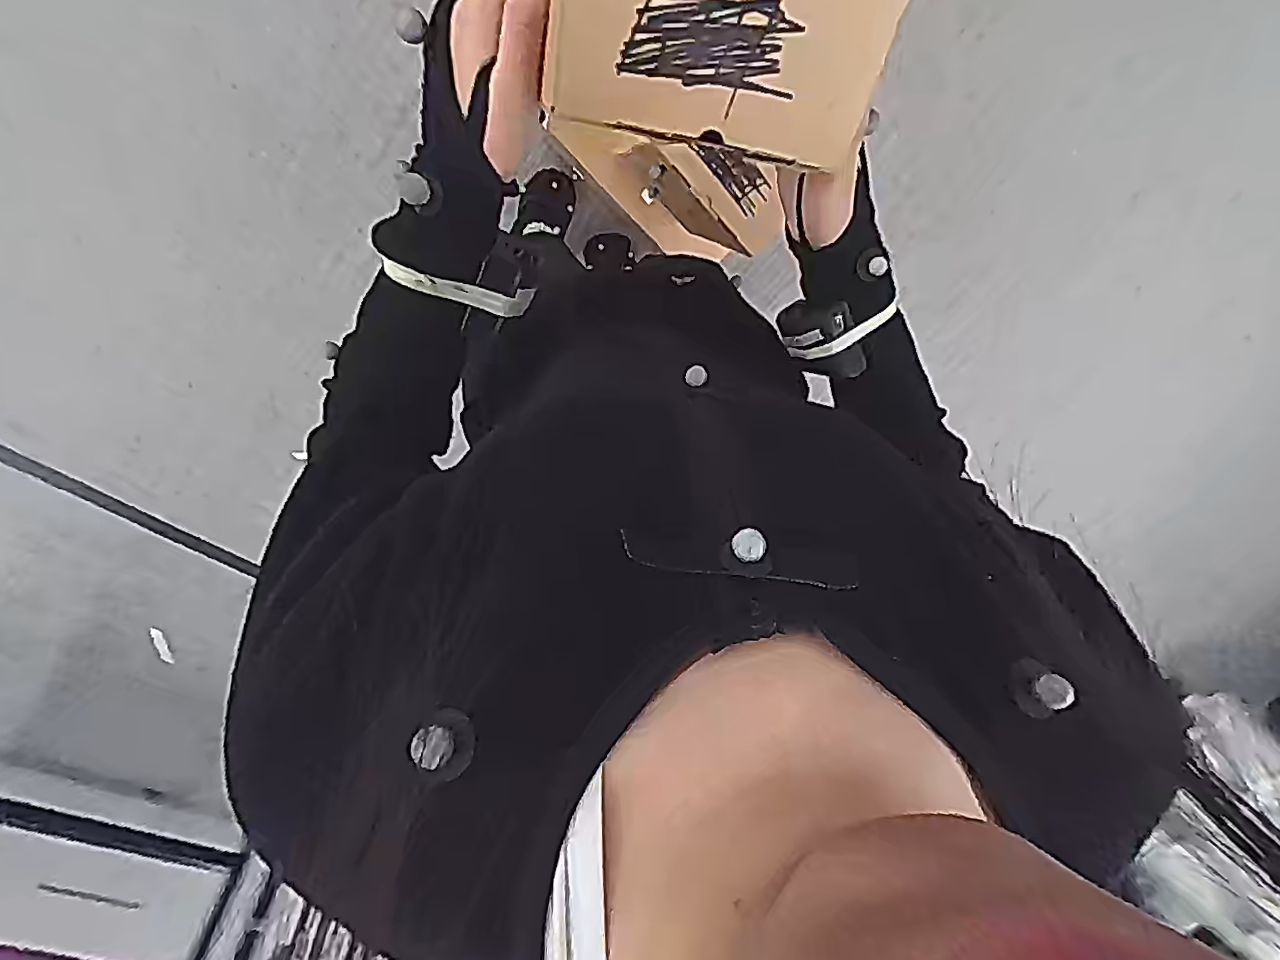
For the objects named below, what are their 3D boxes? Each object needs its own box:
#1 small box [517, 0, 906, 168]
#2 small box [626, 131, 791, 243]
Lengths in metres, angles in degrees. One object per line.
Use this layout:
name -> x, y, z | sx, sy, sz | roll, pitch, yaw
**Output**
small box -> 0.031, -0.291, 0.280 | 0.168, 0.176, 0.179 | -2, 131, -20
small box -> 0.096, -0.471, 0.763 | 0.168, 0.176, 0.179 | 37, 108, -25
